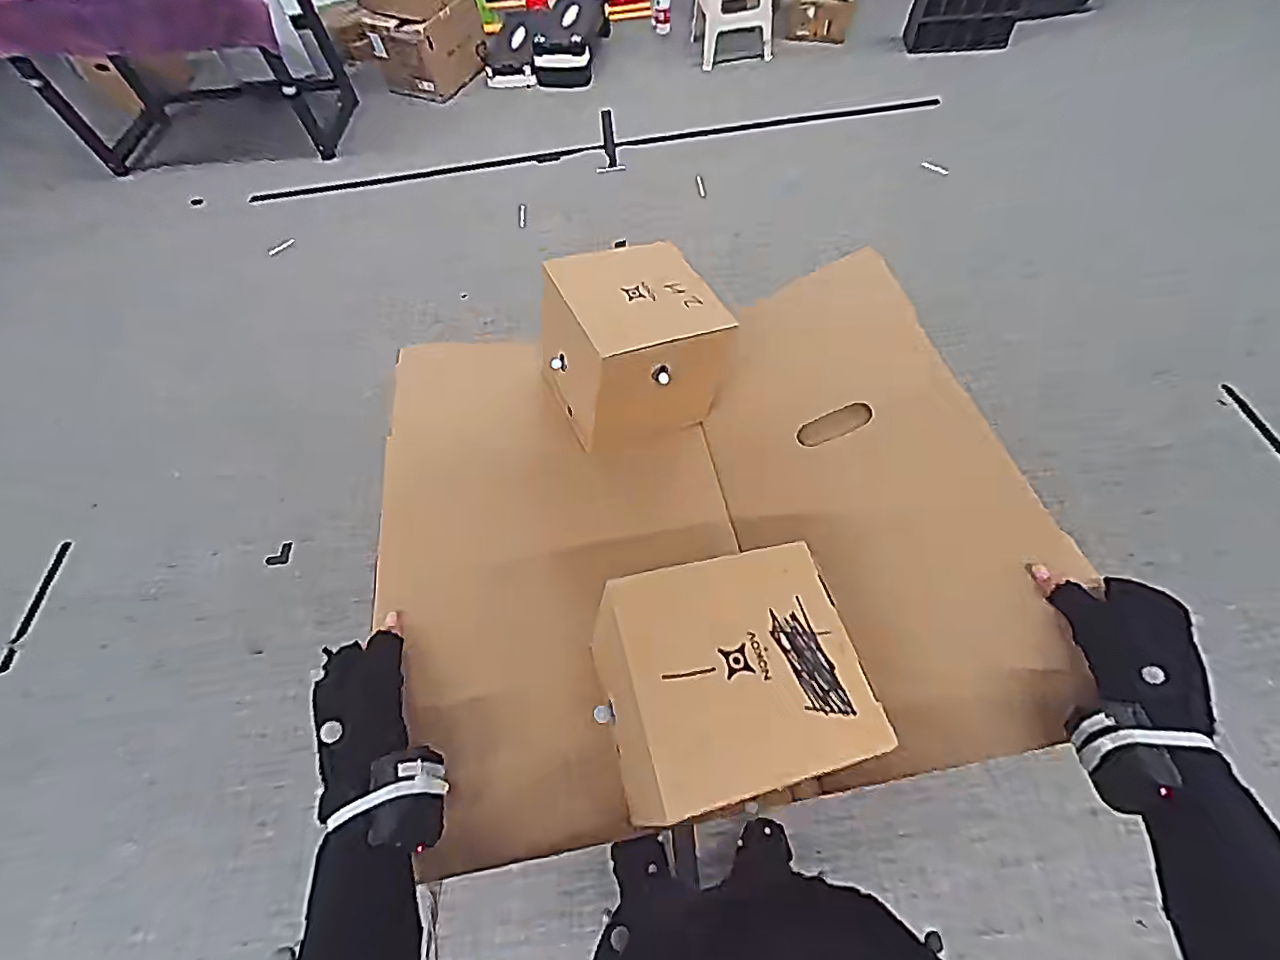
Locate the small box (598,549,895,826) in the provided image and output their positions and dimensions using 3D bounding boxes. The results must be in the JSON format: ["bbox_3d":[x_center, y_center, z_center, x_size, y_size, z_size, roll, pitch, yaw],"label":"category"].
[{"bbox_3d":[0.069,0.180,0.467,0.179,0.176,0.168,-9,58,-15],"label":"small box"}]

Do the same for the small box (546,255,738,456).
[{"bbox_3d":[-0.009,-0.153,0.684,0.179,0.176,0.168,-17,61,-22],"label":"small box"}]
